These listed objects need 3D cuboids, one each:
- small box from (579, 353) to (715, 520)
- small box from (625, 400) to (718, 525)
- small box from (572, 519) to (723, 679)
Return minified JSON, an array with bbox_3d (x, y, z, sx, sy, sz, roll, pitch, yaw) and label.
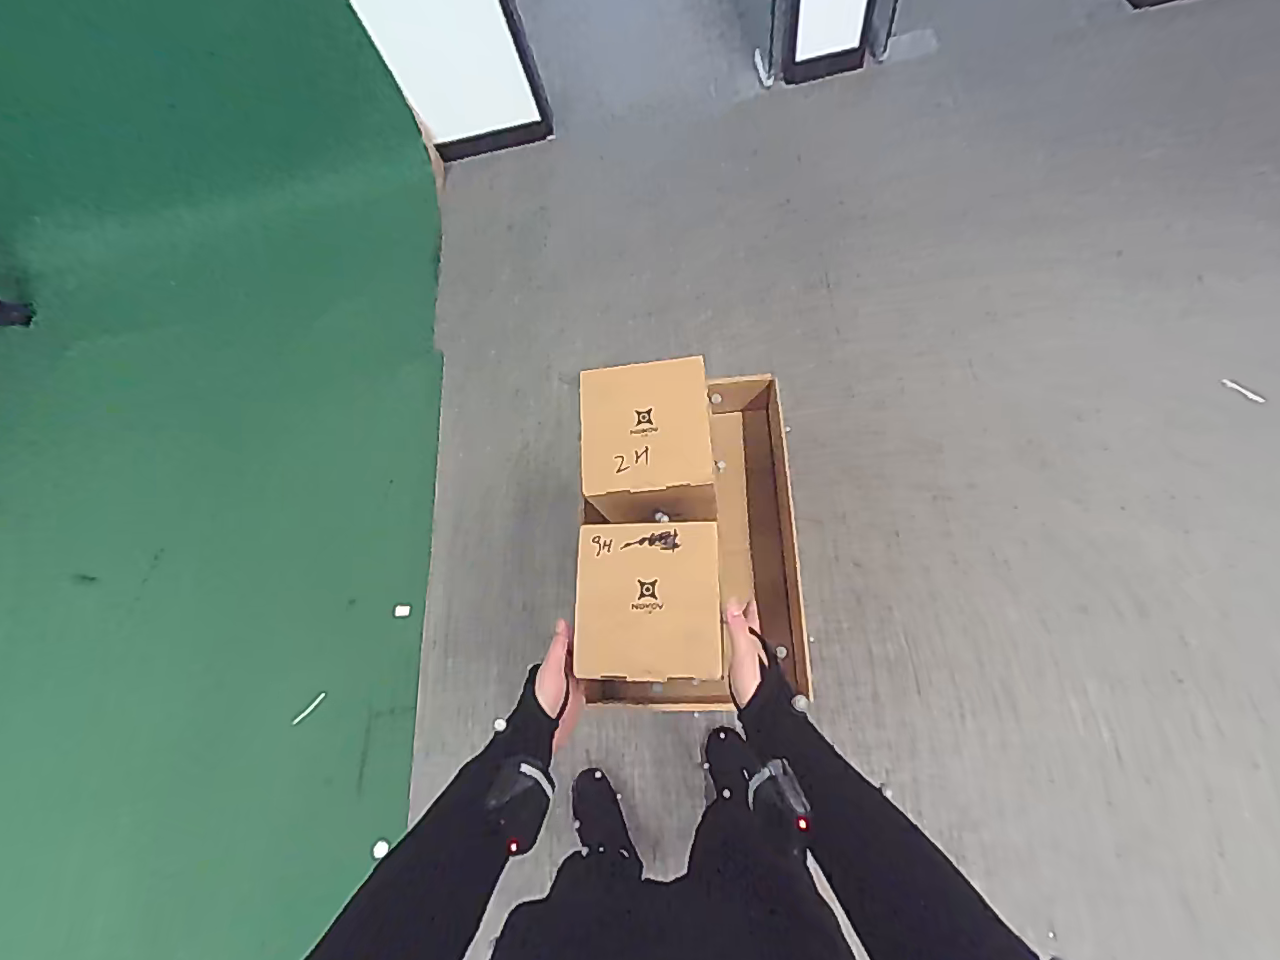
[{"bbox_3d":[0.015,-0.052,0.759,0.168,0.176,0.179,-6,73,9],"label":"small box"},{"bbox_3d":[0.045,-0.018,0.919,0.168,0.176,0.179,-4,73,9],"label":"small box"},{"bbox_3d":[0.018,0.154,0.683,0.168,0.176,0.179,-3,71,9],"label":"small box"}]
